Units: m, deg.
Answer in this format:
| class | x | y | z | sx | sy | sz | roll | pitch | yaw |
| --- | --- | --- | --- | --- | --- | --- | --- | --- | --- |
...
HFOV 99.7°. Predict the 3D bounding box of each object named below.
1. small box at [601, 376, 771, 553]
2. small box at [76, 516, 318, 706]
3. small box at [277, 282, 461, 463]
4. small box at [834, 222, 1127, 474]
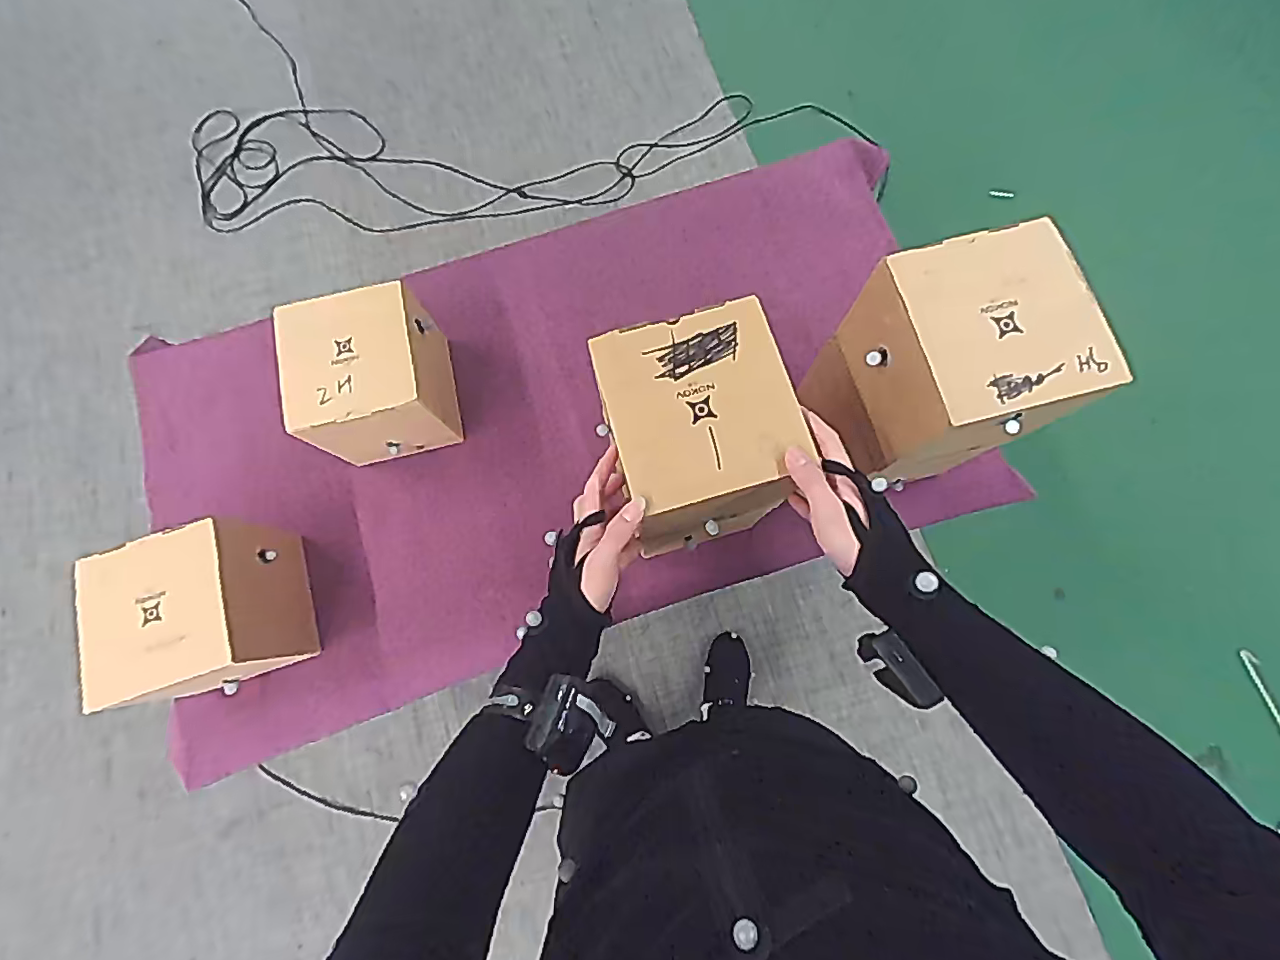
| class | x | y | z | sx | sy | sz | roll | pitch | yaw |
| --- | --- | --- | --- | --- | --- | --- | --- | --- | --- |
| small box | 0.056 | -0.008 | 0.714 | 0.168 | 0.176 | 0.179 | -16 | 75 | -2 |
| small box | -0.546 | 0.163 | 0.686 | 0.168 | 0.176 | 0.179 | -18 | 77 | -2 |
| small box | -0.366 | -0.140 | 0.753 | 0.168 | 0.176 | 0.179 | -13 | 78 | -1 |
| small box | 0.324 | -0.124 | 0.561 | 0.168 | 0.176 | 0.179 | -14 | 76 | -1 |
